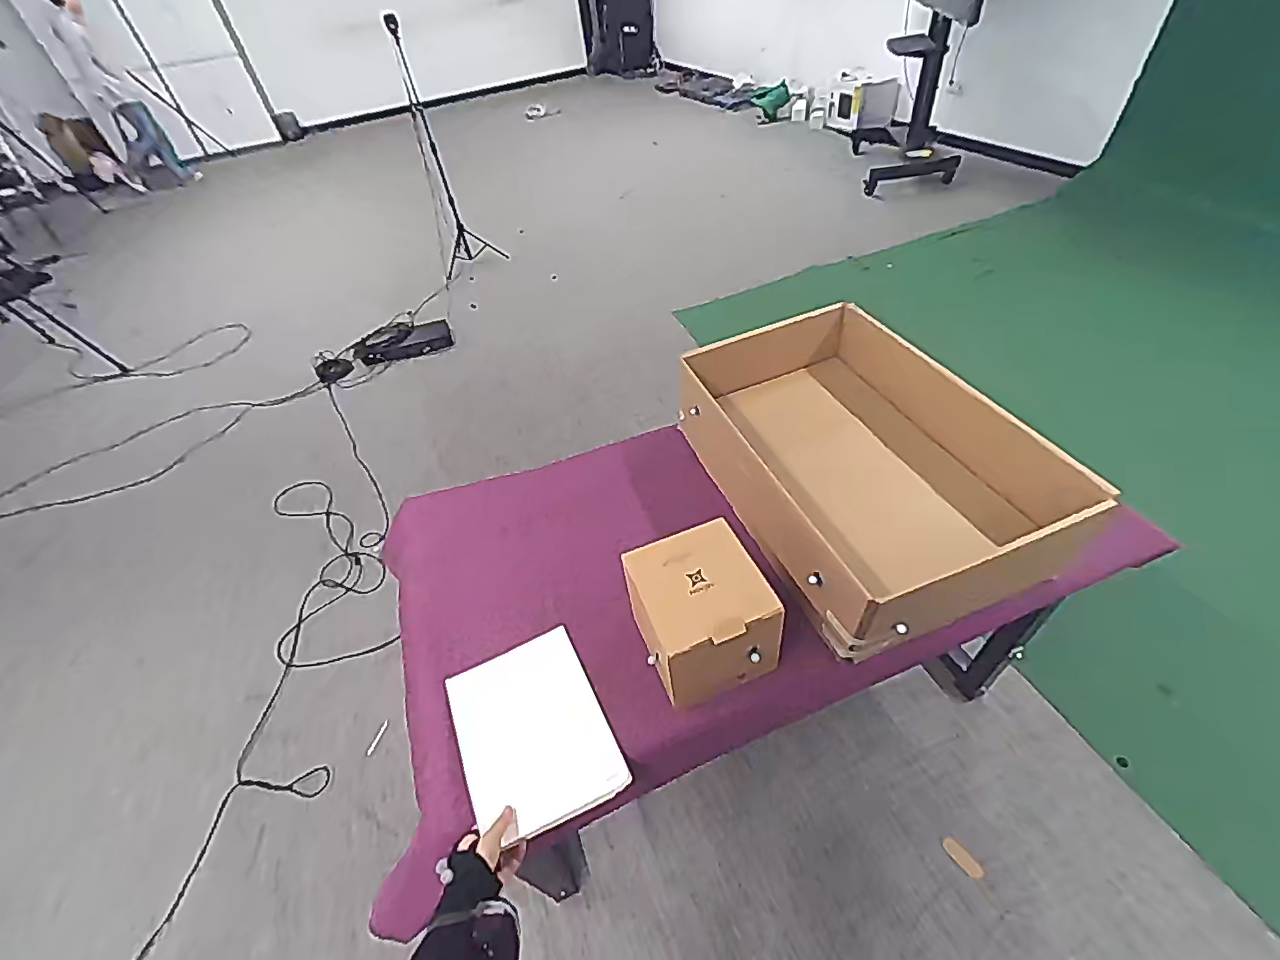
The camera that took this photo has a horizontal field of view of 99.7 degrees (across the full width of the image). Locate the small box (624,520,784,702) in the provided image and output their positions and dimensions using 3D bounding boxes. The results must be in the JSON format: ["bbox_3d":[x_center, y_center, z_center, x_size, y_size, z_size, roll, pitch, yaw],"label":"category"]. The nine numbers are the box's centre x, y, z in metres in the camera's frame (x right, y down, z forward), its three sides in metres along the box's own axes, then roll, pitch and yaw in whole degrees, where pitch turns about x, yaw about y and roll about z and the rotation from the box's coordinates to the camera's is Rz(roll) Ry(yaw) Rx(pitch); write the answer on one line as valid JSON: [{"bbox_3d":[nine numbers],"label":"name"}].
[{"bbox_3d":[0.090,0.195,0.782,0.168,0.176,0.179,-19,44,-10],"label":"small box"}]
